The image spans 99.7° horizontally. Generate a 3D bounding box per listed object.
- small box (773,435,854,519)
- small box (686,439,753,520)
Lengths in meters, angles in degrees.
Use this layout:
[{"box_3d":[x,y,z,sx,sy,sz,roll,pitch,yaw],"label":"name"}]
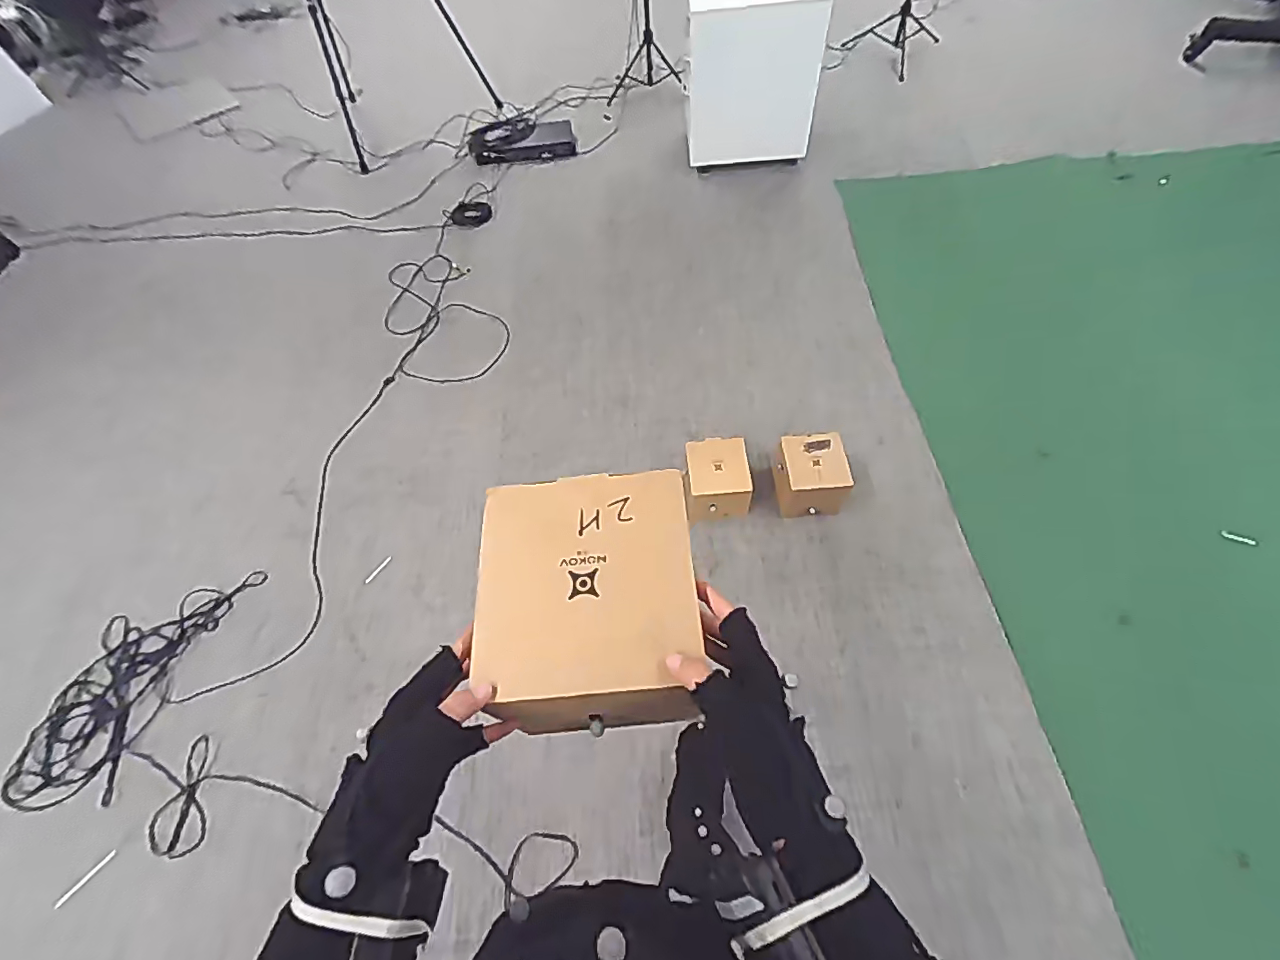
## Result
[{"box_3d":[0.484,-0.007,1.535,0.168,0.176,0.179,-4,60,2],"label":"small box"},{"box_3d":[0.221,0.007,1.547,0.168,0.176,0.179,-5,59,1],"label":"small box"}]
